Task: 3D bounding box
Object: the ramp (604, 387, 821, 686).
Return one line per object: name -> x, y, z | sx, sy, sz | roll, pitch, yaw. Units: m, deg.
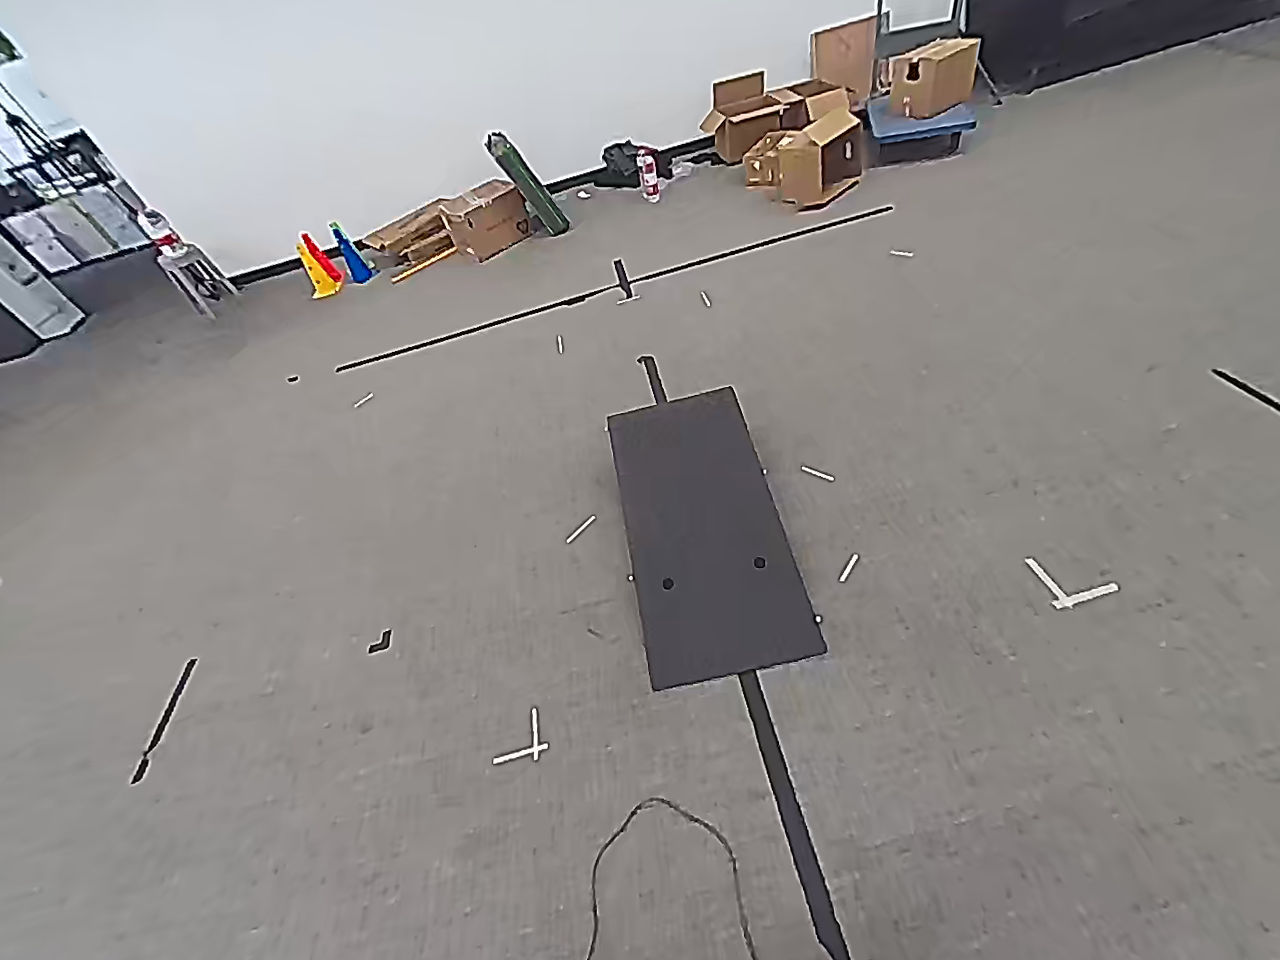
ramp -> 0.184, 0.114, 1.763 | 0.509, 0.206, 0.991 | -14, 46, 1
